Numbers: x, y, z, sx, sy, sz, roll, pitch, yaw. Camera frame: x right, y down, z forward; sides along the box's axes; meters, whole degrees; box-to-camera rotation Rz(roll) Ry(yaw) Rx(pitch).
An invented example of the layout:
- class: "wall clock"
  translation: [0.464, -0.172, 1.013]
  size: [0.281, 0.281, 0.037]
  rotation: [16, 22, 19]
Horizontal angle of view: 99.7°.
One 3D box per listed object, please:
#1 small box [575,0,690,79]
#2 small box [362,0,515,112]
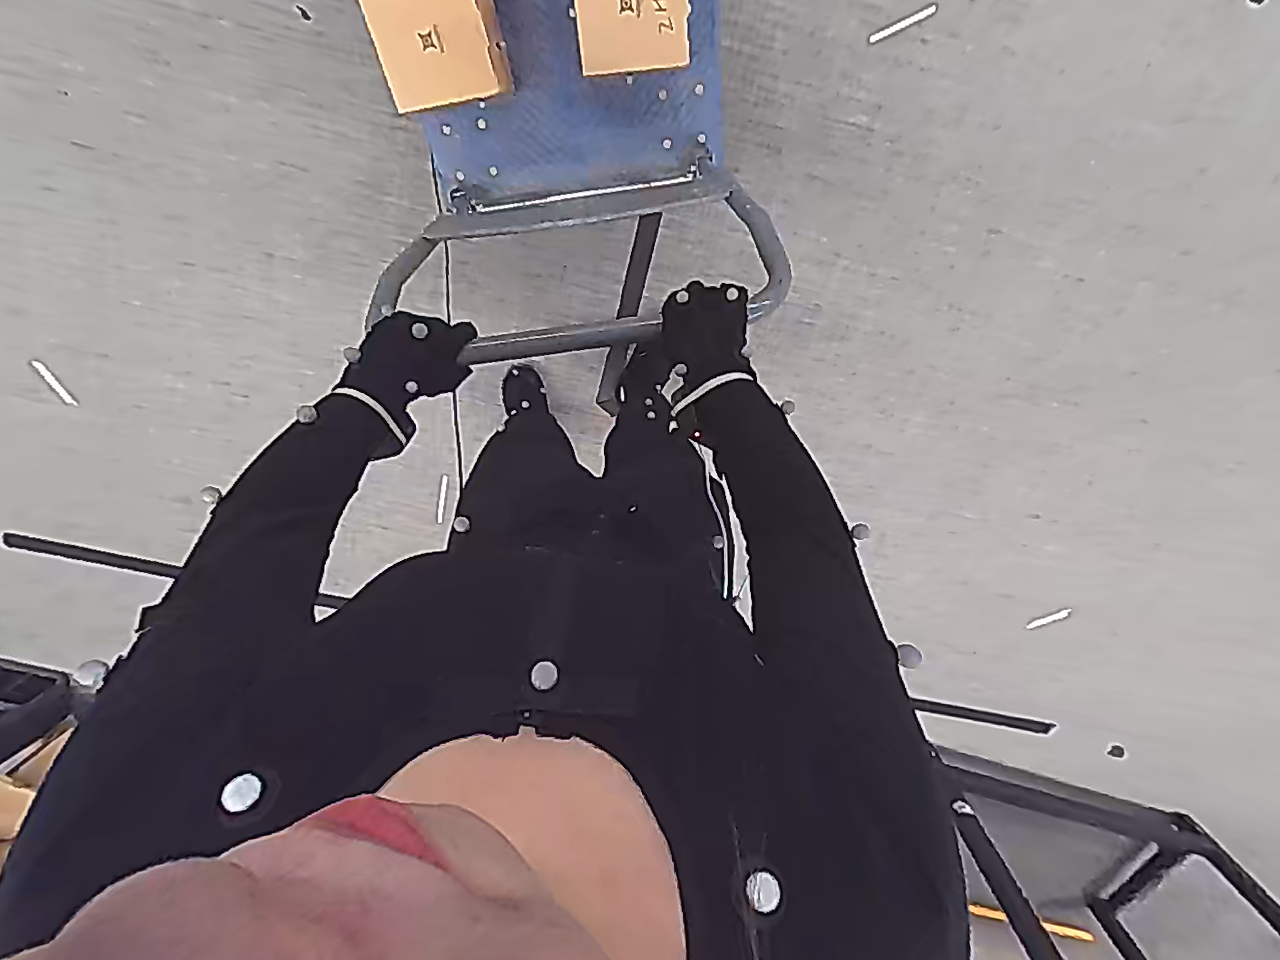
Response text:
- class: "small box"
  translation: [-0.012, -0.769, 0.888]
  size: [0.179, 0.176, 0.168]
  rotation: [-4, 125, 1]
- class: "small box"
  translation: [-0.326, -0.730, 0.907]
  size: [0.179, 0.176, 0.168]
  rotation: [-10, 125, 3]
